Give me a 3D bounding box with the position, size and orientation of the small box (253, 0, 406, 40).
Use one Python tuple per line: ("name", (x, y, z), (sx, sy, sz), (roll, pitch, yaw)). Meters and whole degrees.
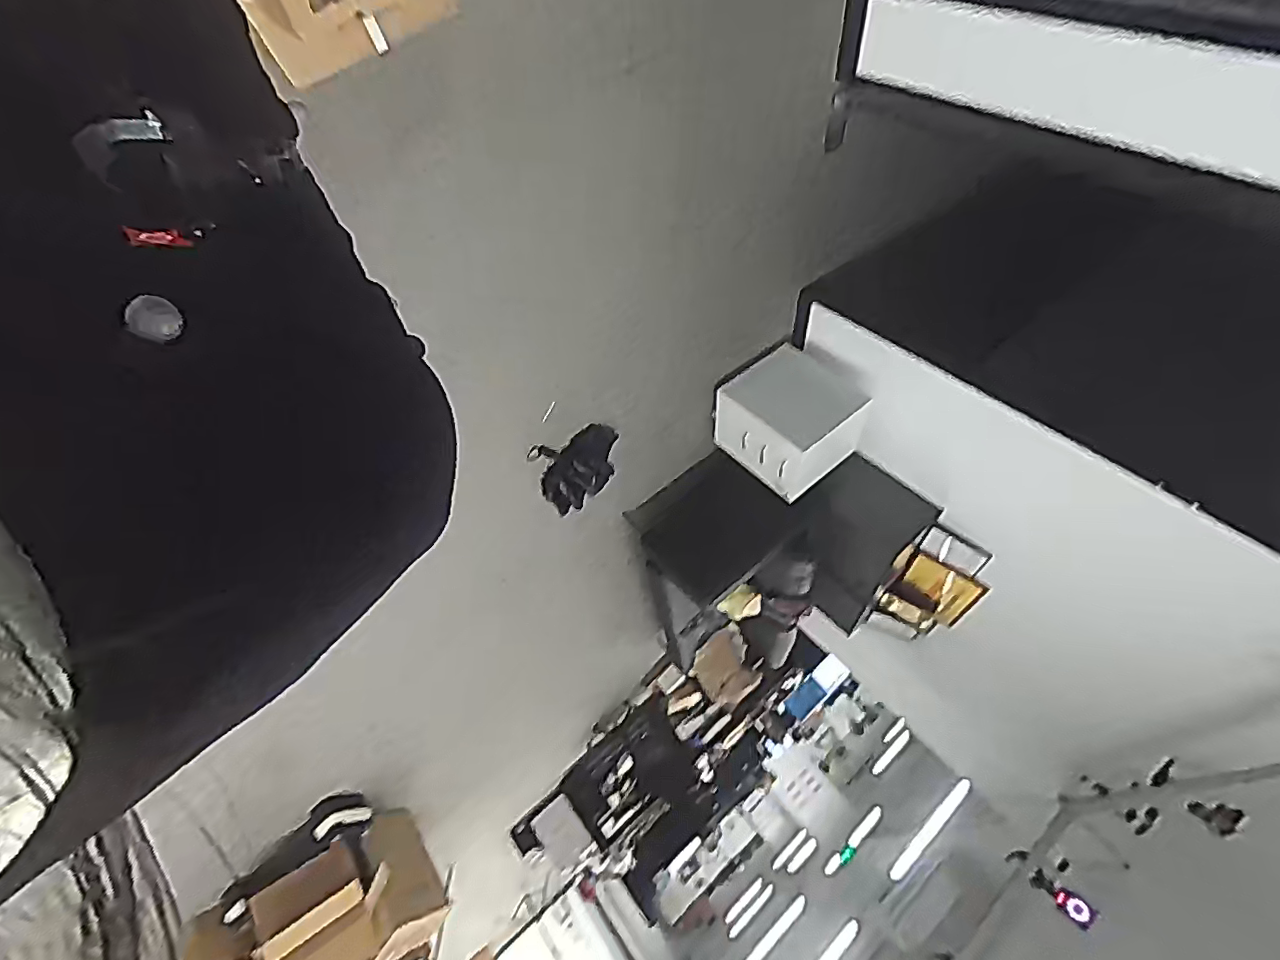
("small box", (-0.436, -0.701, 0.680), (0.168, 0.176, 0.179), (-37, 148, -16))
